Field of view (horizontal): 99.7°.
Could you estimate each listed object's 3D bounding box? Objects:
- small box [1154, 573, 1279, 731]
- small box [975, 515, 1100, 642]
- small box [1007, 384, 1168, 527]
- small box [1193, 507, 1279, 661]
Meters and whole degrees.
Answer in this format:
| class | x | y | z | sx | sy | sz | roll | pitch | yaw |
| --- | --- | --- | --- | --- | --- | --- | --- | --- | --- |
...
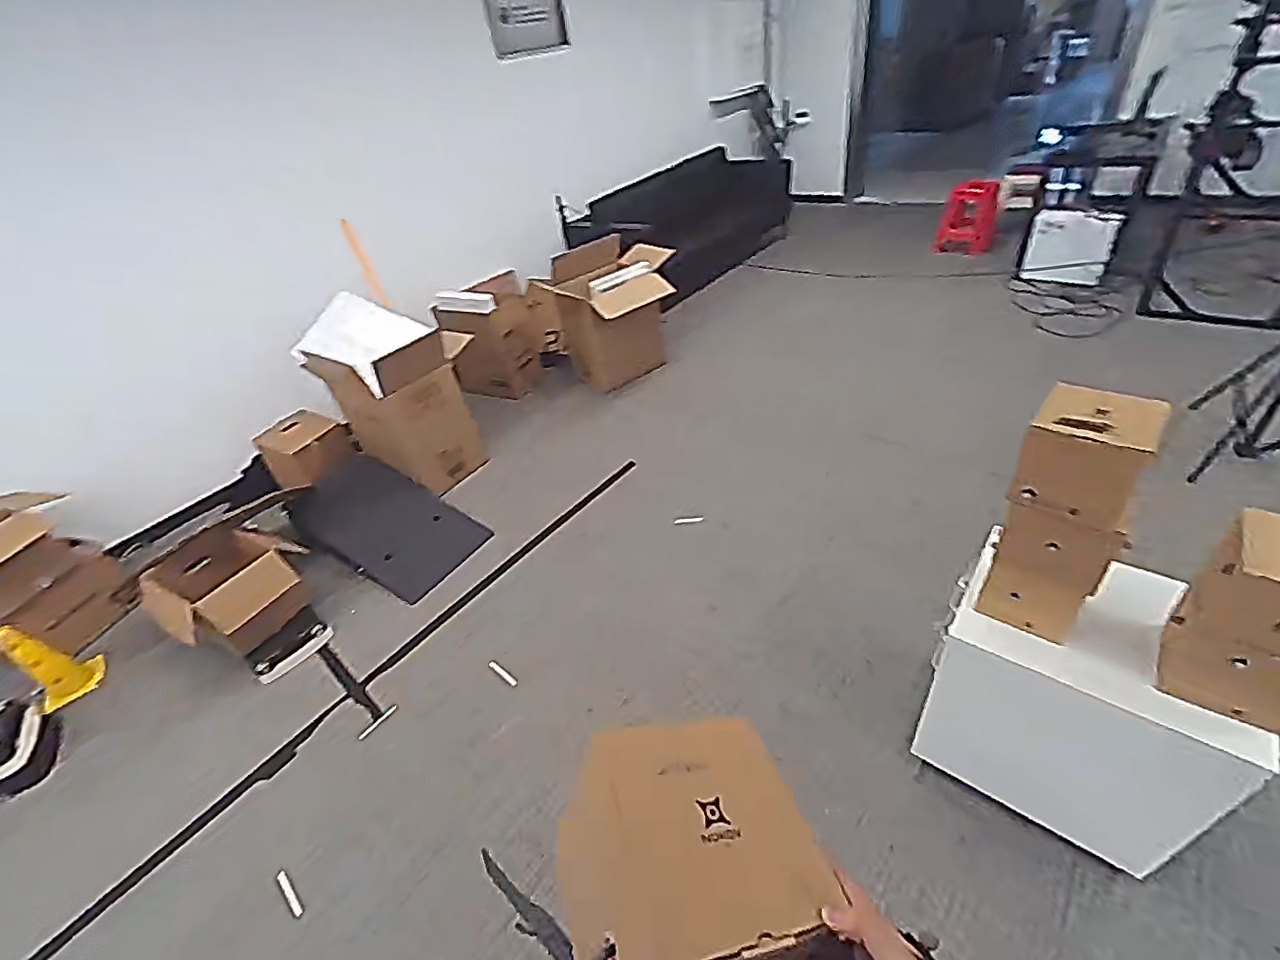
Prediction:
| class | x | y | z | sx | sy | sz | roll | pitch | yaw |
| --- | --- | --- | --- | --- | --- | --- | --- | --- | --- |
| small box | 1.072 | 0.307 | 0.977 | 0.168 | 0.176 | 0.179 | 18 | 46 | 34 |
| small box | 0.844 | 0.211 | 1.162 | 0.168 | 0.176 | 0.179 | 22 | 48 | 35 |
| small box | 0.785 | -0.045 | 0.963 | 0.168 | 0.176 | 0.179 | 25 | 49 | 37 |
| small box | 1.046 | 0.178 | 0.877 | 0.168 | 0.176 | 0.179 | 20 | 47 | 34 |
